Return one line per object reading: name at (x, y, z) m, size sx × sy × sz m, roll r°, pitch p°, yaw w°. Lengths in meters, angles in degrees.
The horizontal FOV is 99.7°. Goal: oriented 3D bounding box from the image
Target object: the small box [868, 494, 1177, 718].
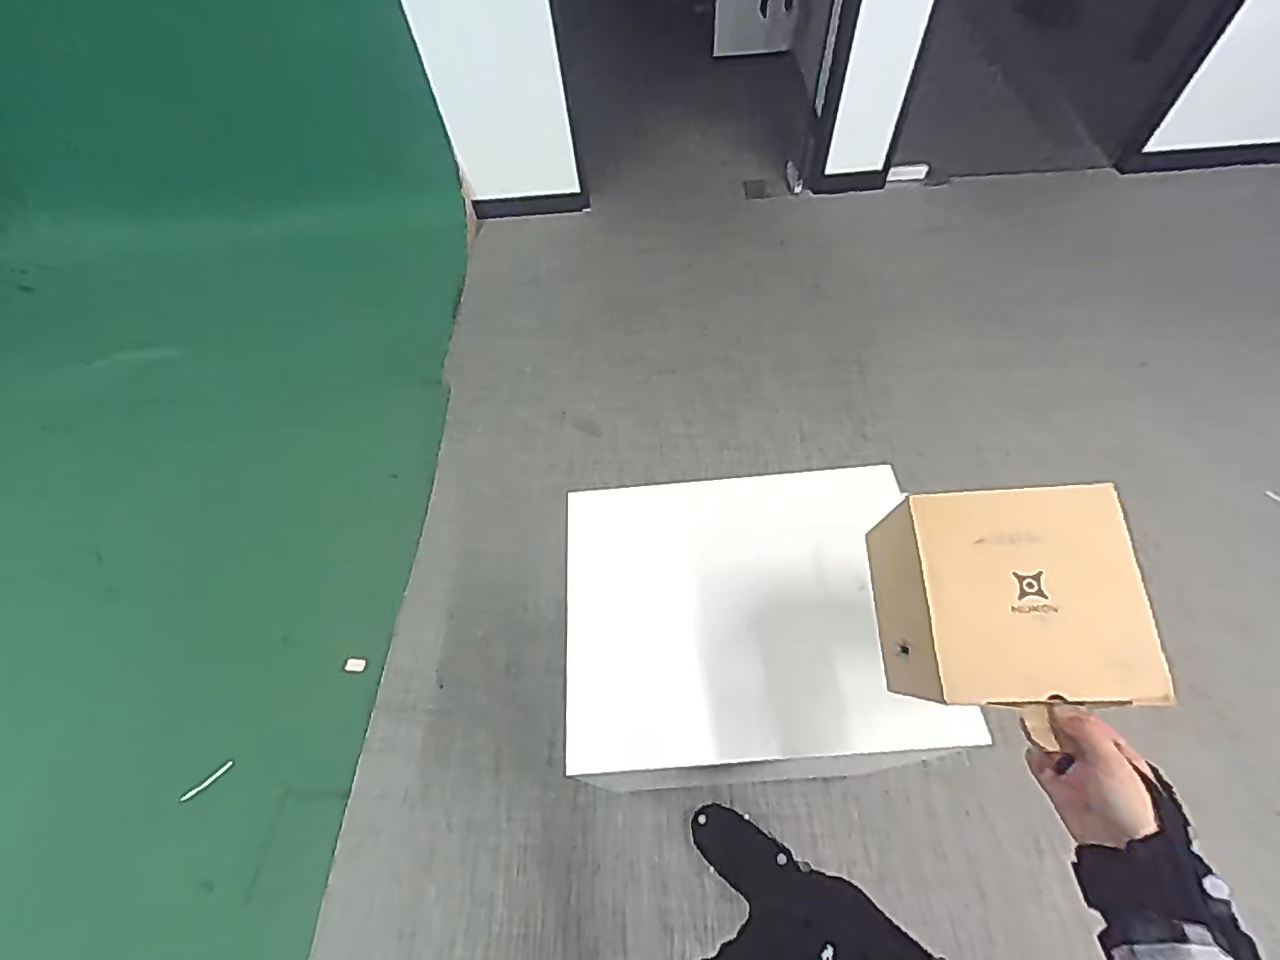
small box at (0.332, 0.124, 0.516) m, size 0.168 × 0.176 × 0.179 m, roll -4°, pitch 70°, yaw 8°
